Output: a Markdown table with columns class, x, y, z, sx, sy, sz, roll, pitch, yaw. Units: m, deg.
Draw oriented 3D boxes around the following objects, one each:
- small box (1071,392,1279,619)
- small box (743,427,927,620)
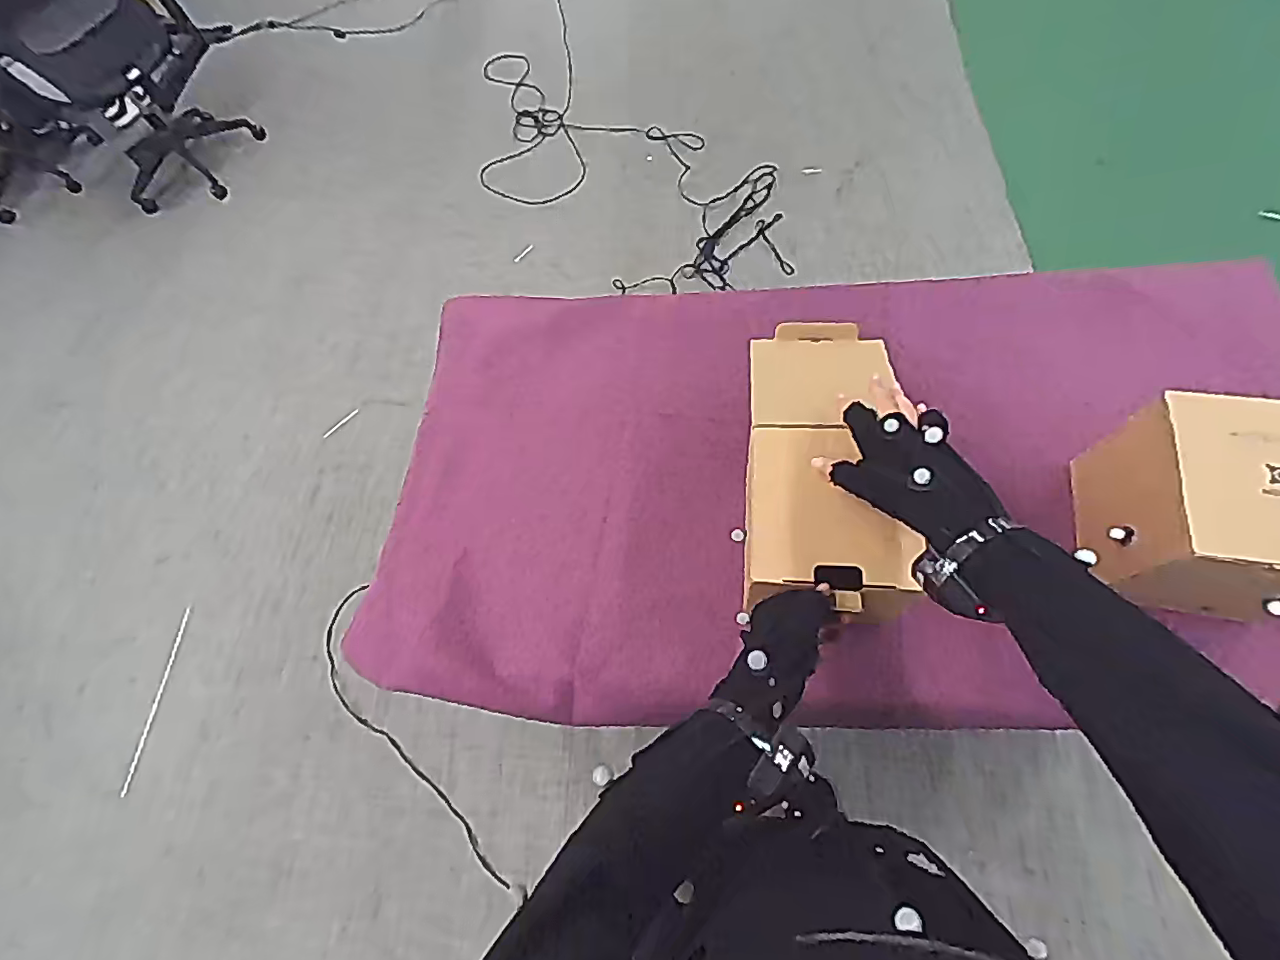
| class | x | y | z | sx | sy | sz | roll | pitch | yaw |
| --- | --- | --- | --- | --- | --- | --- | --- | --- | --- |
| small box | 0.589 | 0.034 | 0.561 | 0.168 | 0.176 | 0.179 | 9 | 67 | 13 |
| small box | 0.204 | 0.056 | 0.613 | 0.168 | 0.176 | 0.179 | 2 | 65 | 10 |
